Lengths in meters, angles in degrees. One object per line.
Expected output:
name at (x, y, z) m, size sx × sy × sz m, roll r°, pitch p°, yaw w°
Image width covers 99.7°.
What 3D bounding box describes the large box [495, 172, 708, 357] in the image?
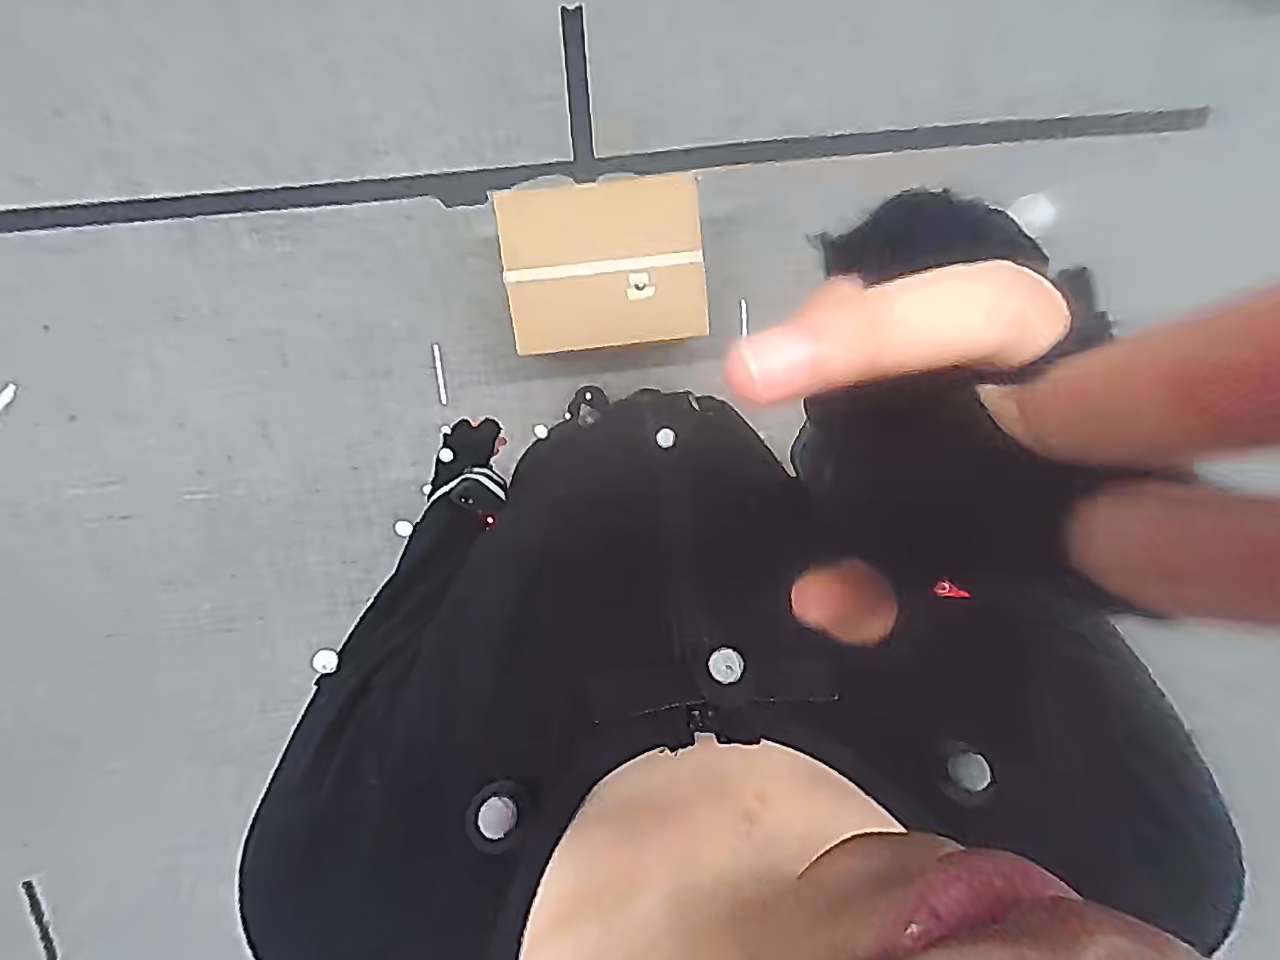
large box at (-0.084, -0.465, 1.237) m, size 0.408 × 0.320 × 0.320 m, roll -7°, pitch 103°, yaw -4°
